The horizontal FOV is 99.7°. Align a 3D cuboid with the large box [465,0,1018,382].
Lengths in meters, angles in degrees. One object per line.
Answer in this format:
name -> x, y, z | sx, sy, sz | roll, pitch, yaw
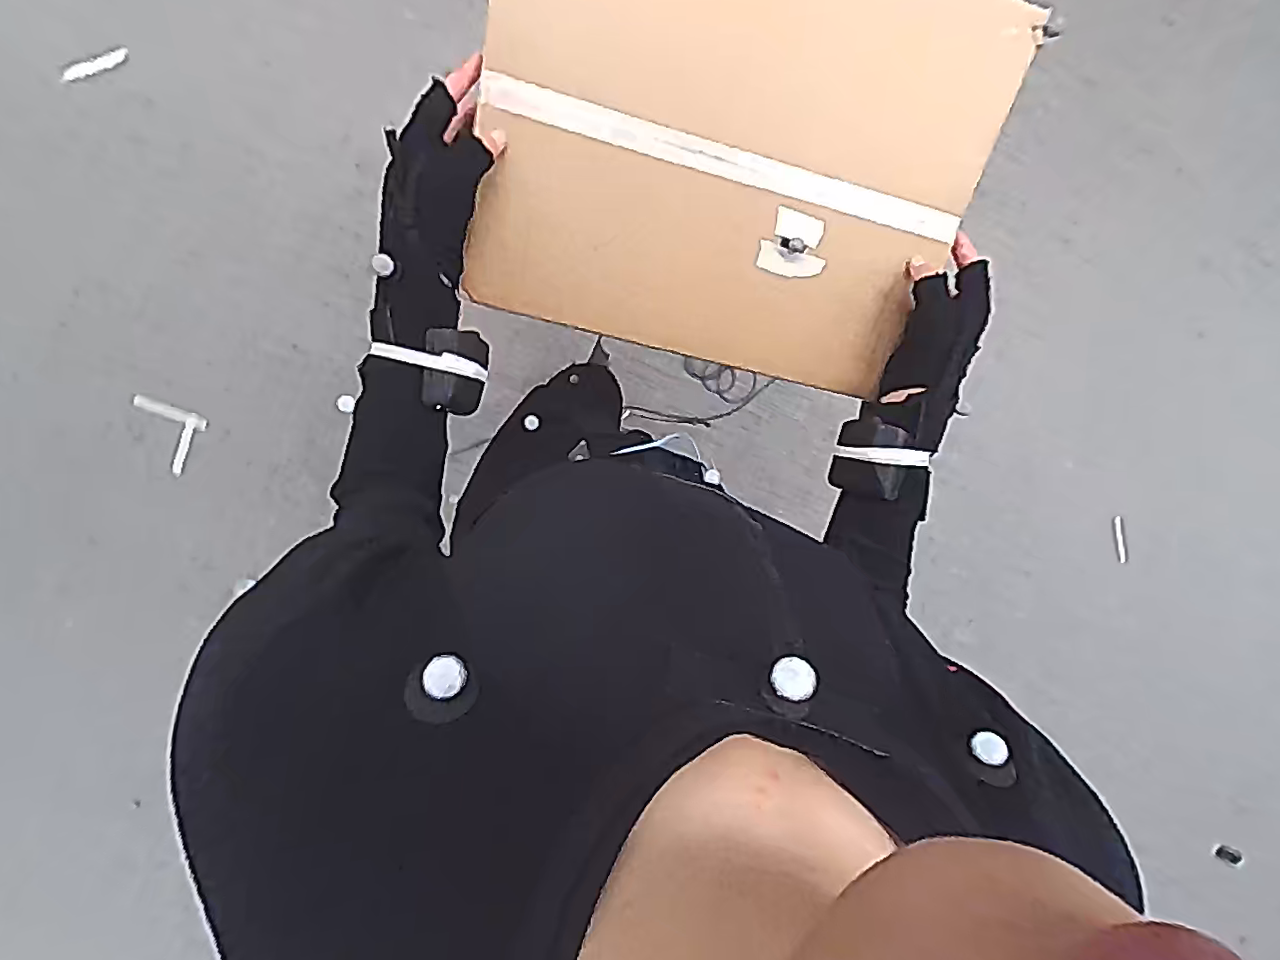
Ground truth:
large box -> 0.058, -0.326, 0.582 | 0.408, 0.320, 0.320 | 11, 114, -10
